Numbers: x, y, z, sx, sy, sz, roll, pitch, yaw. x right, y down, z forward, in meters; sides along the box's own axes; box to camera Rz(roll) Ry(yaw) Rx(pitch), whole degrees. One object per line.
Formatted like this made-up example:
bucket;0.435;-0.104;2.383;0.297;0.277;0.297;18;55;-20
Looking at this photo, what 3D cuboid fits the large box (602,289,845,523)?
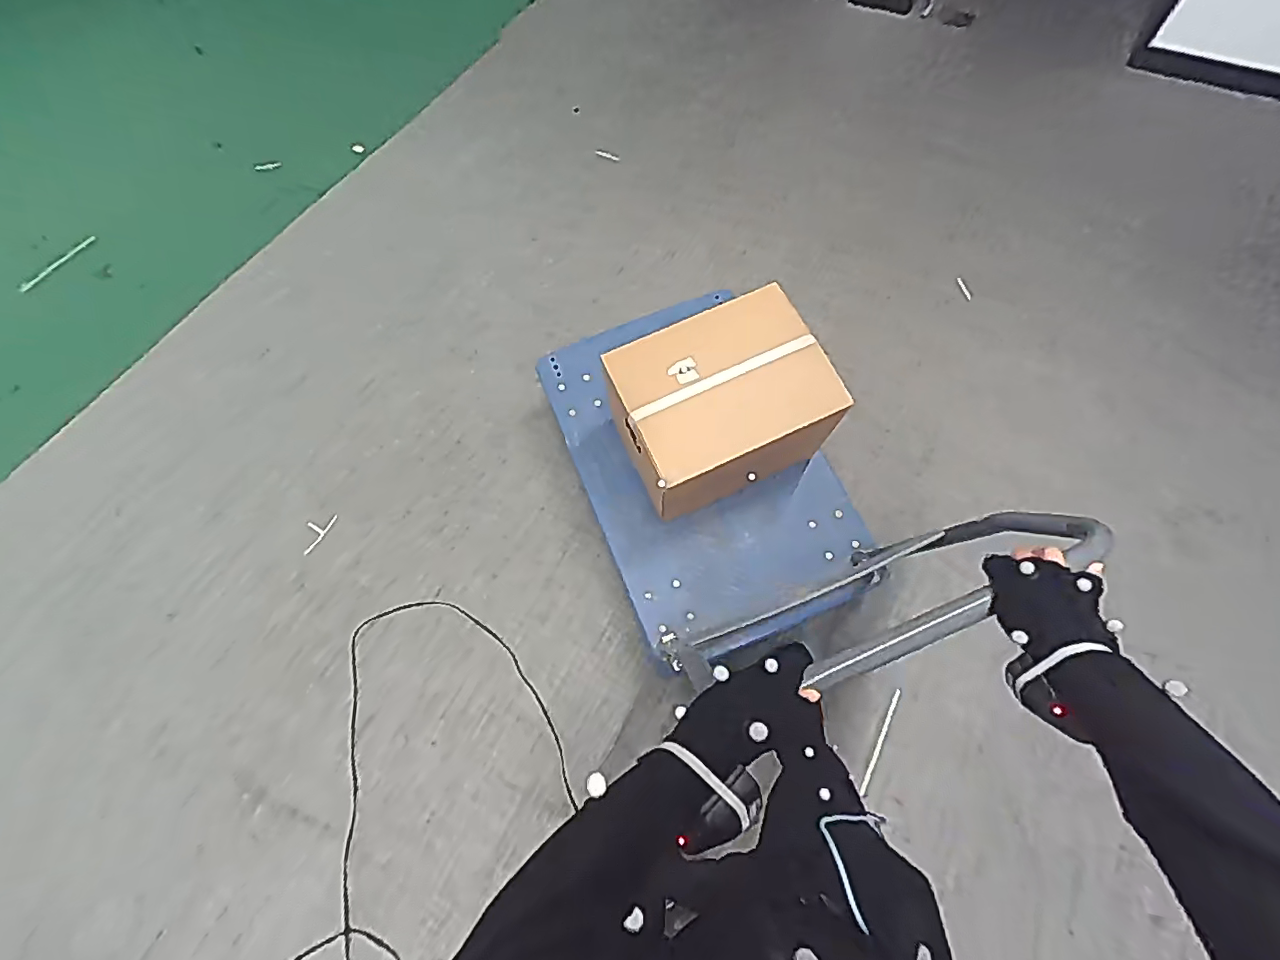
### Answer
large box;0.171;-0.147;1.224;0.408;0.320;0.320;-26;73;-5
